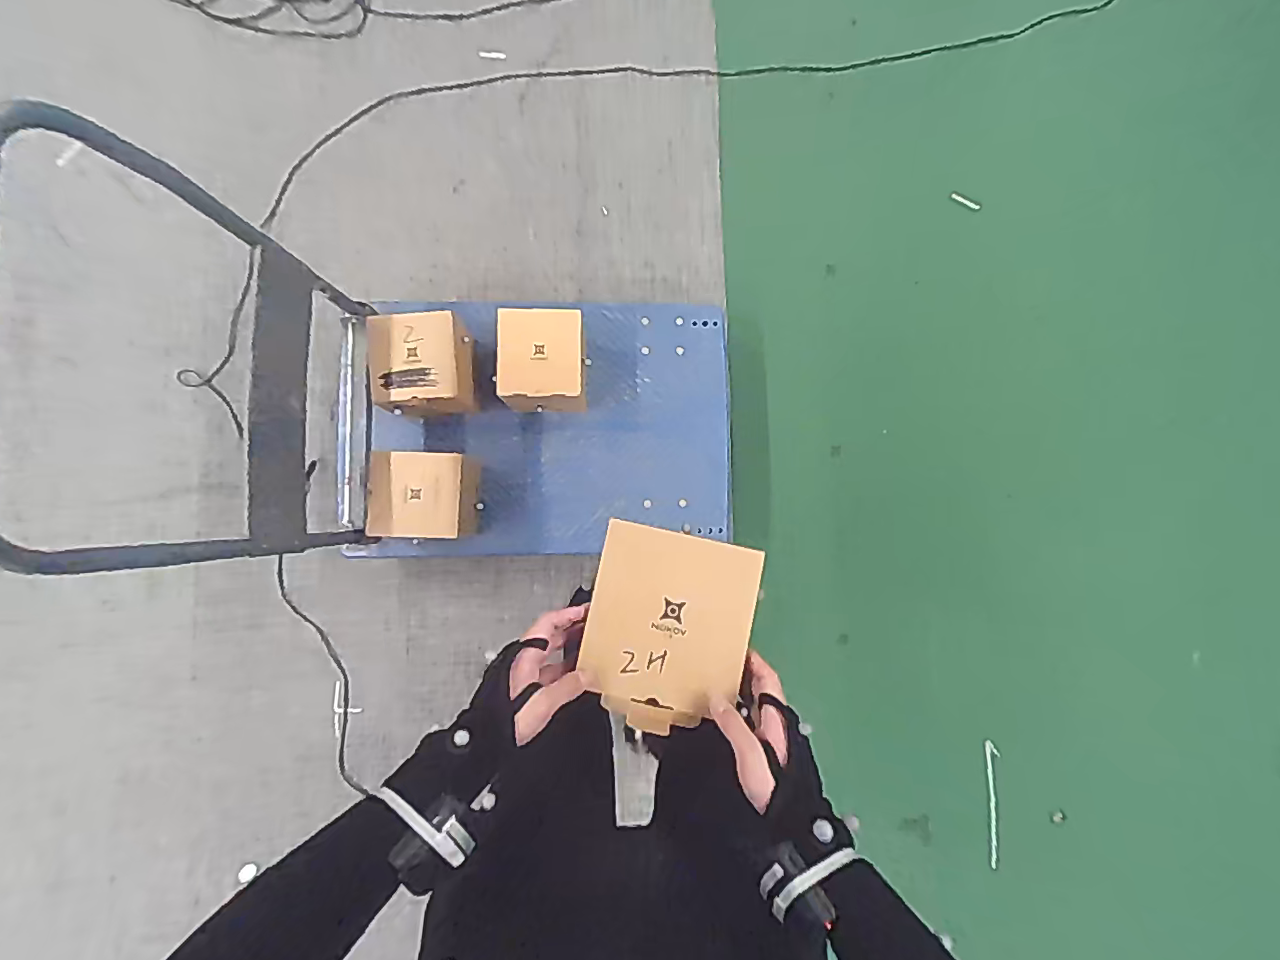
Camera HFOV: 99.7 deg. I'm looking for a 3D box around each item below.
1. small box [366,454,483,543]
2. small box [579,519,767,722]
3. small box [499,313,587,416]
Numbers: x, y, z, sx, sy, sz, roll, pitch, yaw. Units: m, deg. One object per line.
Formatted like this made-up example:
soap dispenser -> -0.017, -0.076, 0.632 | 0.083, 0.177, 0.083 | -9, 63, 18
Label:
small box -> -0.434, 0.041, 1.113 | 0.179, 0.176, 0.168 | 2, 86, -4
small box -> 0.033, 0.151, 0.633 | 0.168, 0.176, 0.179 | 13, 84, 1
small box -> -0.199, -0.238, 1.147 | 0.168, 0.176, 0.179 | 0, 87, -3
